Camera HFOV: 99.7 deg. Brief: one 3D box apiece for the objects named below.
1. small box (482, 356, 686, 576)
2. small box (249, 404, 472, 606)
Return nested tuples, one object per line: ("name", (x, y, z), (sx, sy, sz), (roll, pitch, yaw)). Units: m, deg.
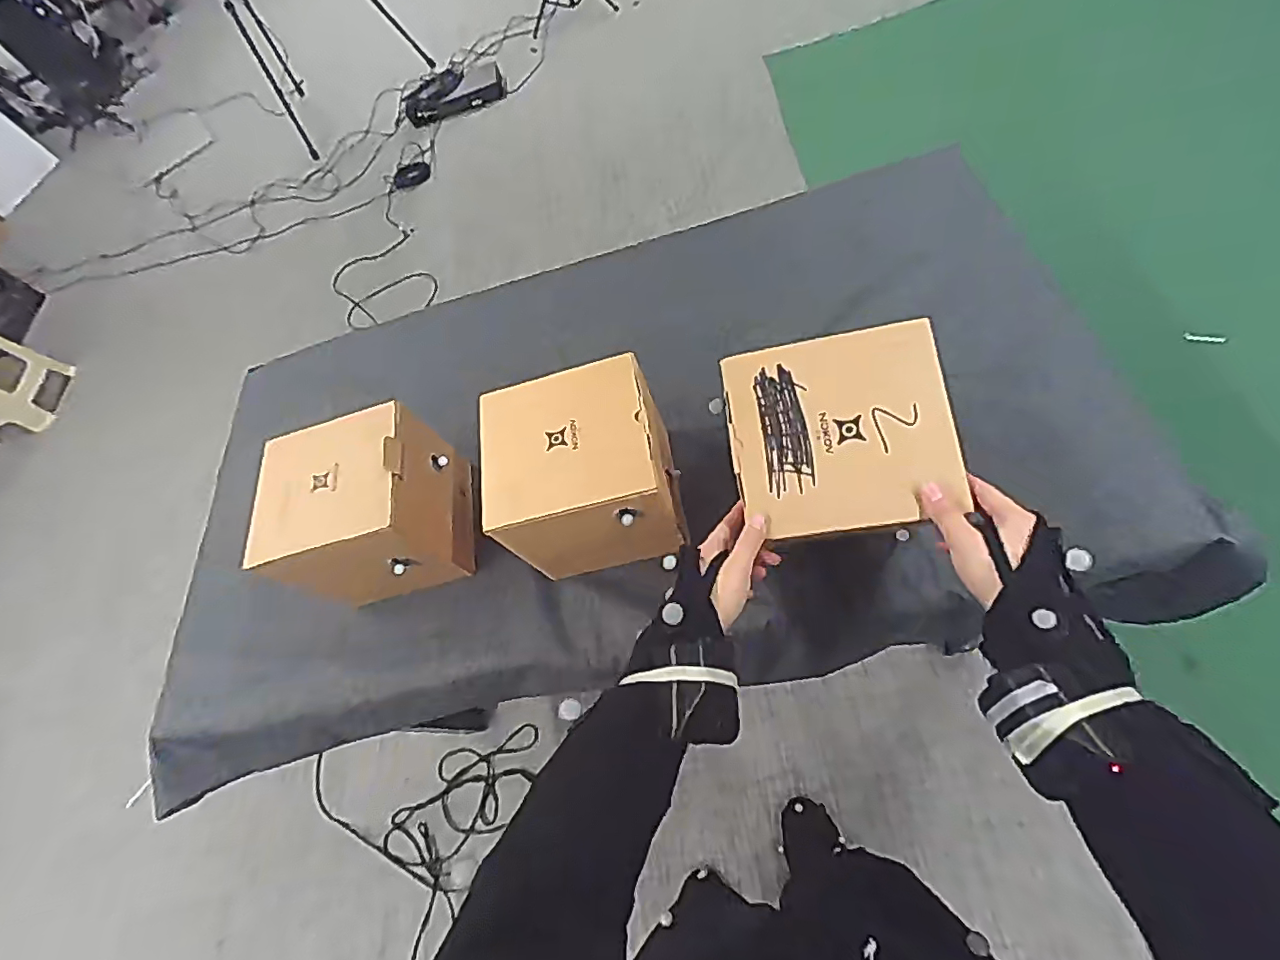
("small box", (-0.058, -0.004, 0.610), (0.179, 0.176, 0.168), (-14, 60, 8))
("small box", (-0.321, 0.039, 0.662), (0.179, 0.176, 0.168), (-17, 59, 8))
